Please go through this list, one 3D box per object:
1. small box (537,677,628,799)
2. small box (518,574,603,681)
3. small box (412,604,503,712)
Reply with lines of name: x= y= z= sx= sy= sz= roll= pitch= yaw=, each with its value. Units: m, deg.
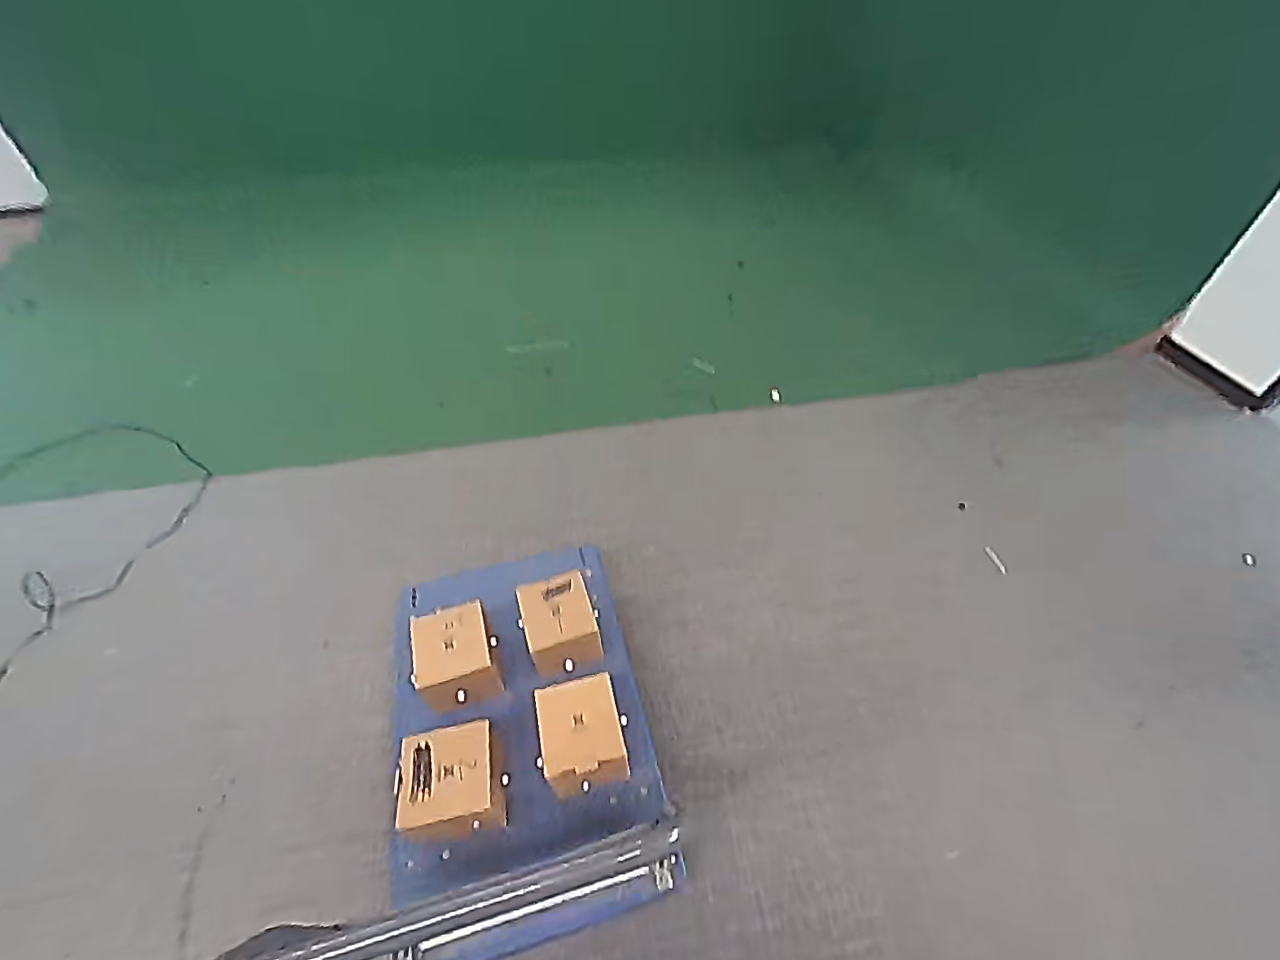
small box: x=-0.125 y=0.562 z=1.175 sx=0.168 sy=0.176 sz=0.179 roll=-11 pitch=49 yaw=-9
small box: x=-0.197 y=0.369 z=1.351 sx=0.168 sy=0.176 sz=0.179 roll=-15 pitch=50 yaw=-11
small box: x=-0.434 y=0.433 z=1.298 sx=0.168 sy=0.176 sz=0.179 roll=-14 pitch=49 yaw=-12
